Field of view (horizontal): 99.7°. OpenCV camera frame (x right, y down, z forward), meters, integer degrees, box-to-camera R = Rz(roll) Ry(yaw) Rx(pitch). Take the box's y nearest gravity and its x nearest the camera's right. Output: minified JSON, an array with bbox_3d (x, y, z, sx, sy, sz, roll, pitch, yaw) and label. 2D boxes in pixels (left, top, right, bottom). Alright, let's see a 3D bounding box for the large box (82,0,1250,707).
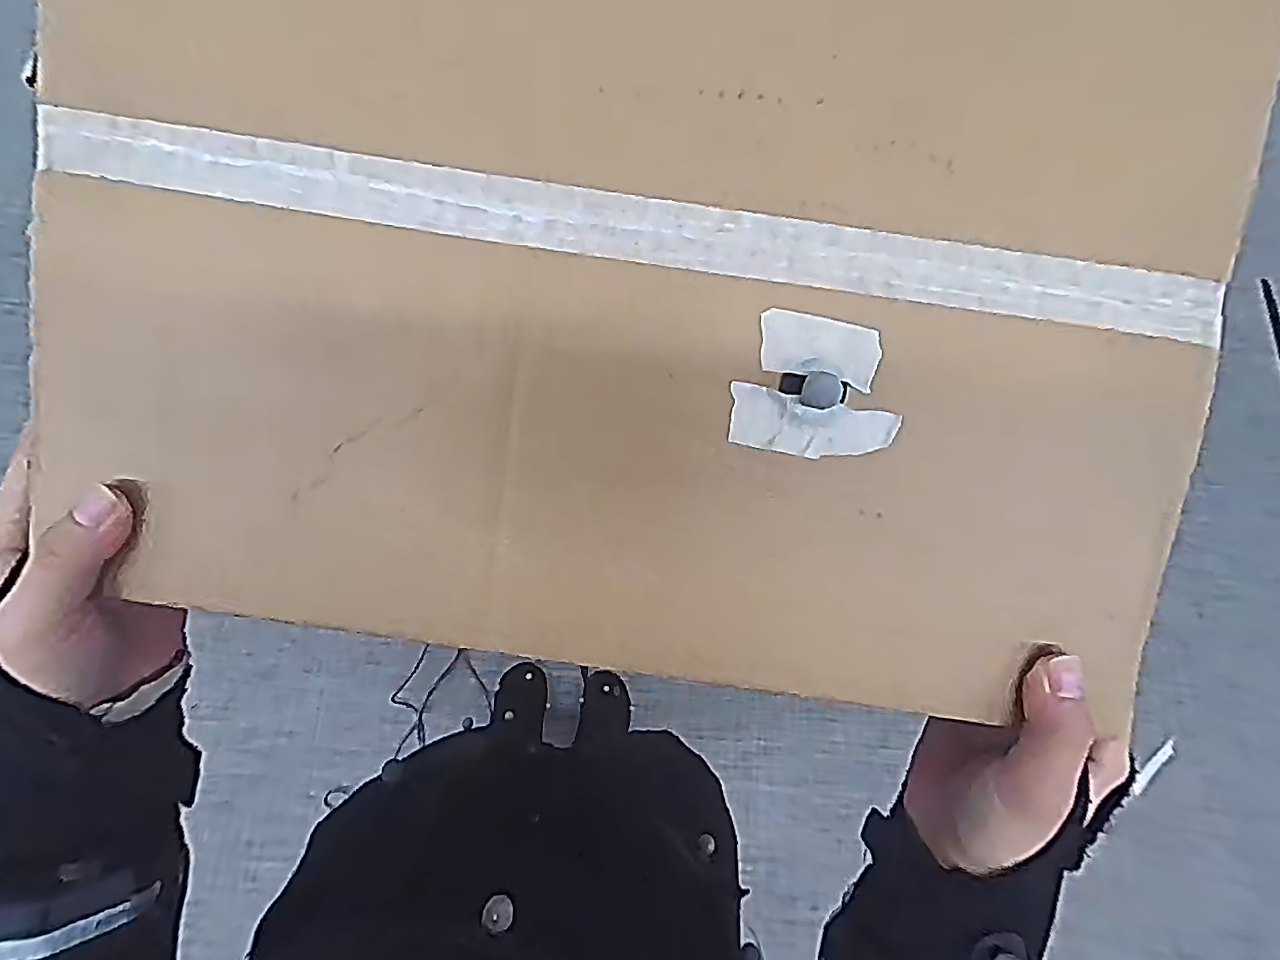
[{"bbox_3d":[0.002,-0.095,0.347,0.408,0.320,0.320,8,95,-2],"label":"large box"}]
